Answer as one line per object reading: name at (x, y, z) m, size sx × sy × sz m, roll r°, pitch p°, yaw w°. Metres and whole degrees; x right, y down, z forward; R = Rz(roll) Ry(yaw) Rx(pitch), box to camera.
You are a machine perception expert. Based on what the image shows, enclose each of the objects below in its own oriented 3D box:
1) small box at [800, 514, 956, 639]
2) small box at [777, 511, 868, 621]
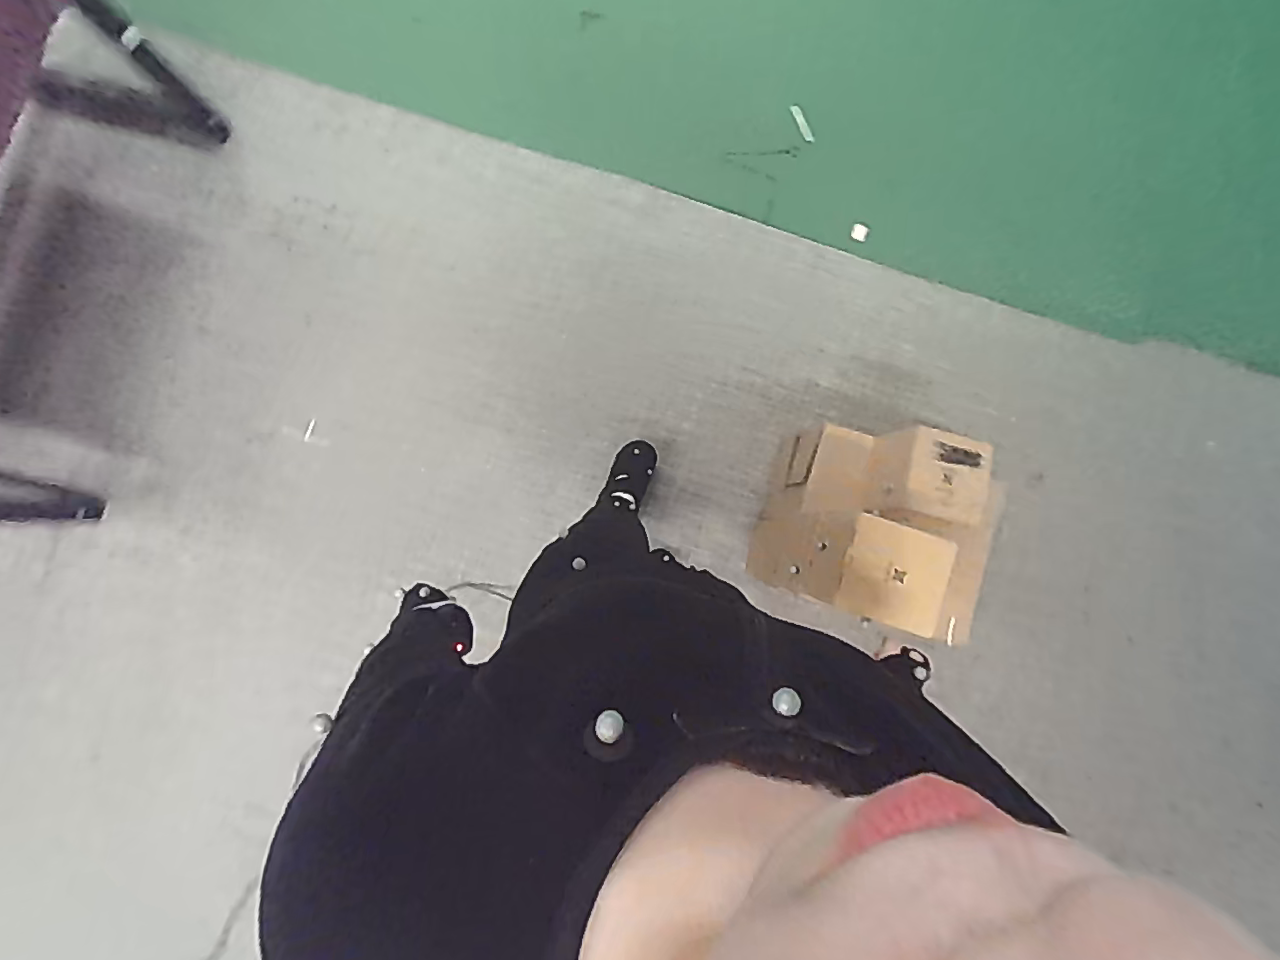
small box at (0.415, 0.162, 0.968) m, size 0.179 × 0.176 × 0.168 m, roll 19°, pitch 86°, yaw -1°
small box at (0.403, 0.172, 1.131) m, size 0.168 × 0.176 × 0.179 m, roll 19°, pitch 86°, yaw -2°
